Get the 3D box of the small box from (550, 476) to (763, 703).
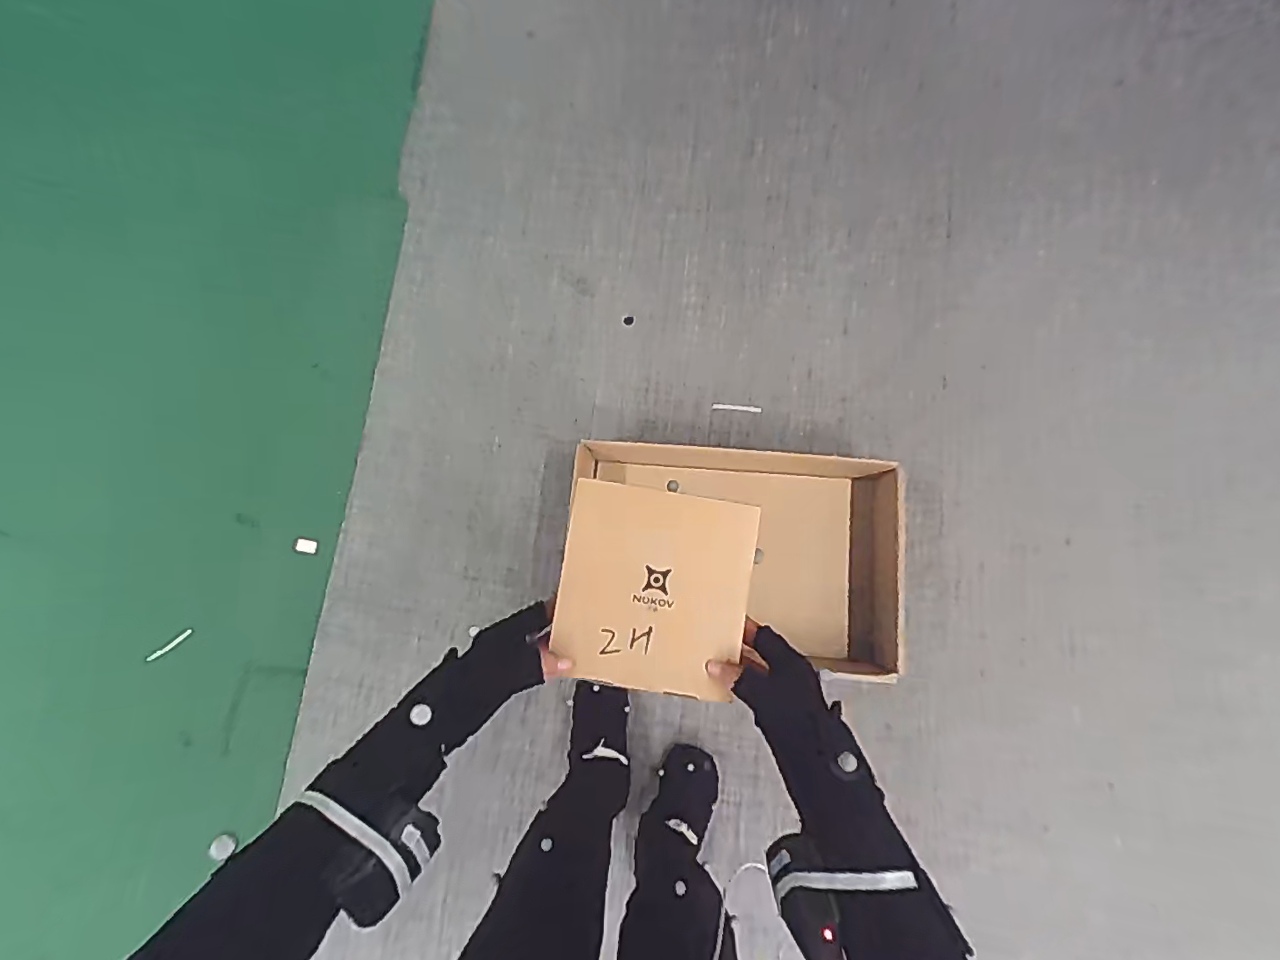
[{"bbox_3d":[0.015,0.099,0.553,0.168,0.176,0.179,10,87,1],"label":"small box"}]
